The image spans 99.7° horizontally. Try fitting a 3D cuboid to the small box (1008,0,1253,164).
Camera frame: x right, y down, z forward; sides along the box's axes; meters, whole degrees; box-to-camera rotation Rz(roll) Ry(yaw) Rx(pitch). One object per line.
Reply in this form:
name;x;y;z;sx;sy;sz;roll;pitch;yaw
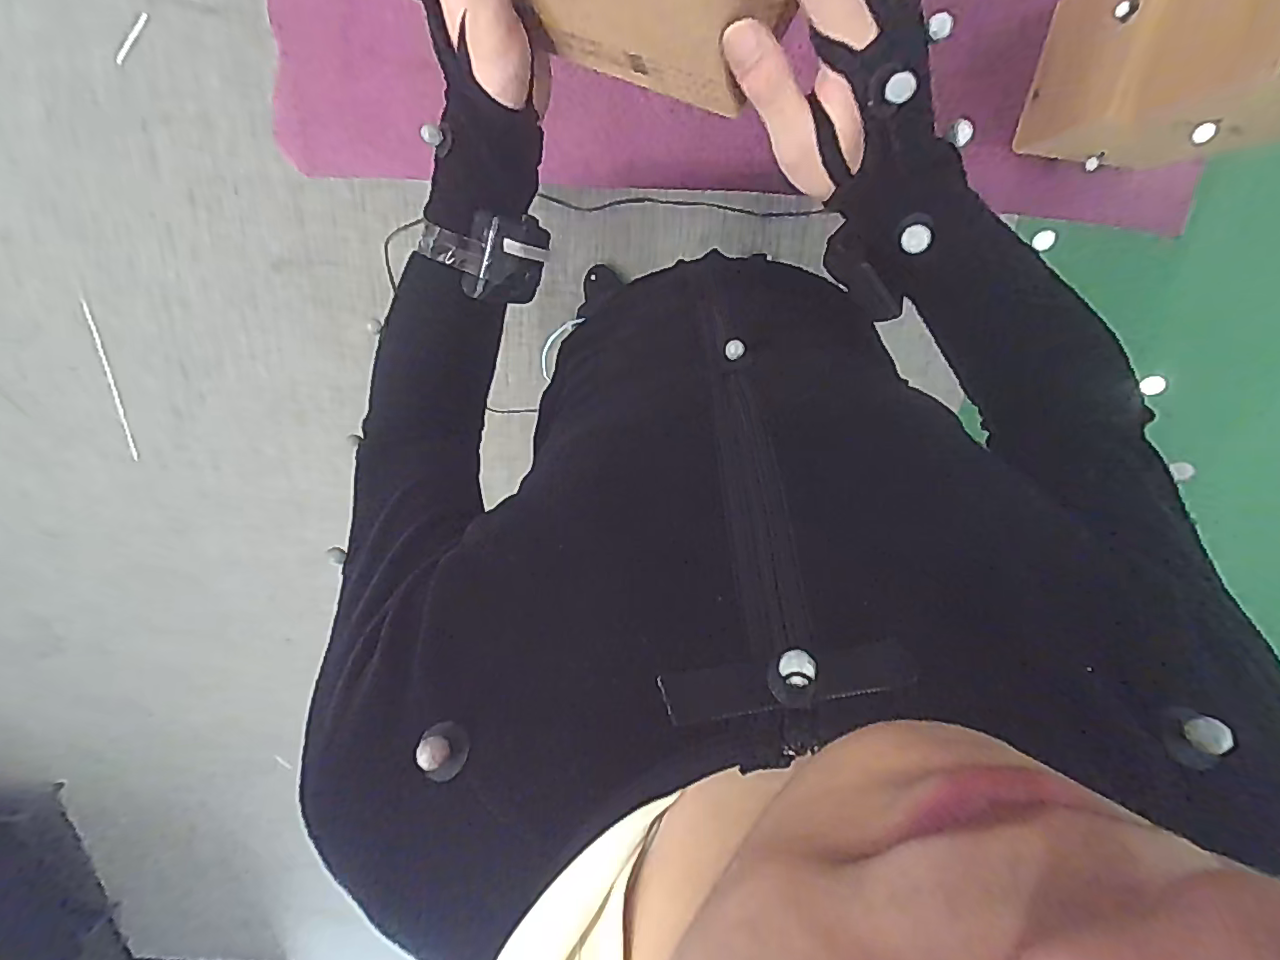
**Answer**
small box;0.575;-0.472;0.612;0.179;0.176;0.168;7;111;-2
